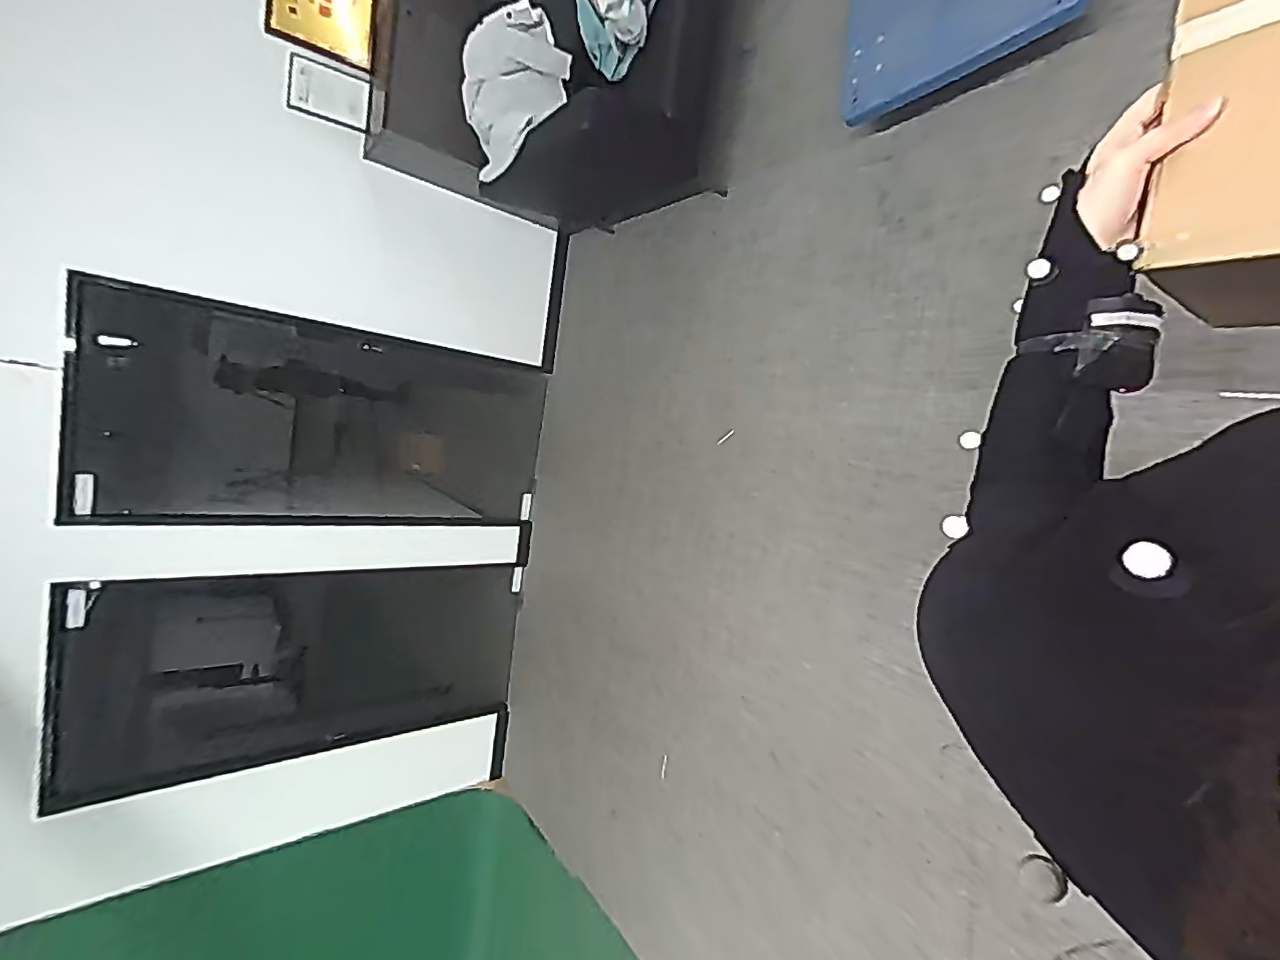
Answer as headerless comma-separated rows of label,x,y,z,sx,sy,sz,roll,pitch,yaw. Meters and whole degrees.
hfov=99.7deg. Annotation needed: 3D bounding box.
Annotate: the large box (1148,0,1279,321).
large box,0.639,-0.289,0.324,0.408,0.320,0.320,14,102,55
